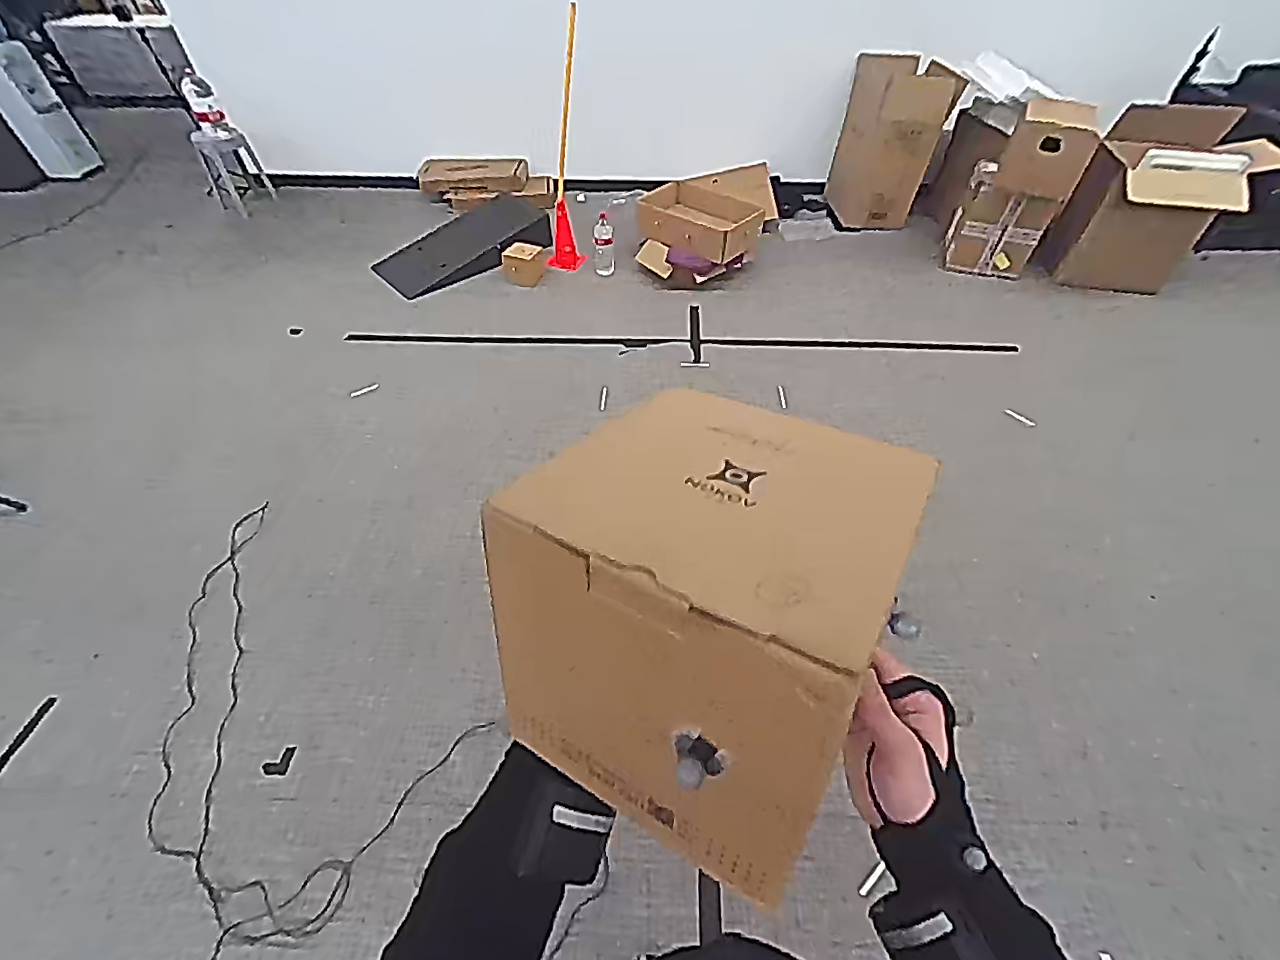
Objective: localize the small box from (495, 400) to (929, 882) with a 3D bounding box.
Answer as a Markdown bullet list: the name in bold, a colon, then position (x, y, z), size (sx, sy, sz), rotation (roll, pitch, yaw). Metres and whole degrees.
- **small box**: position (0.043, 0.076, 0.315), size (0.168, 0.176, 0.179), rotation (21, 36, 26)
